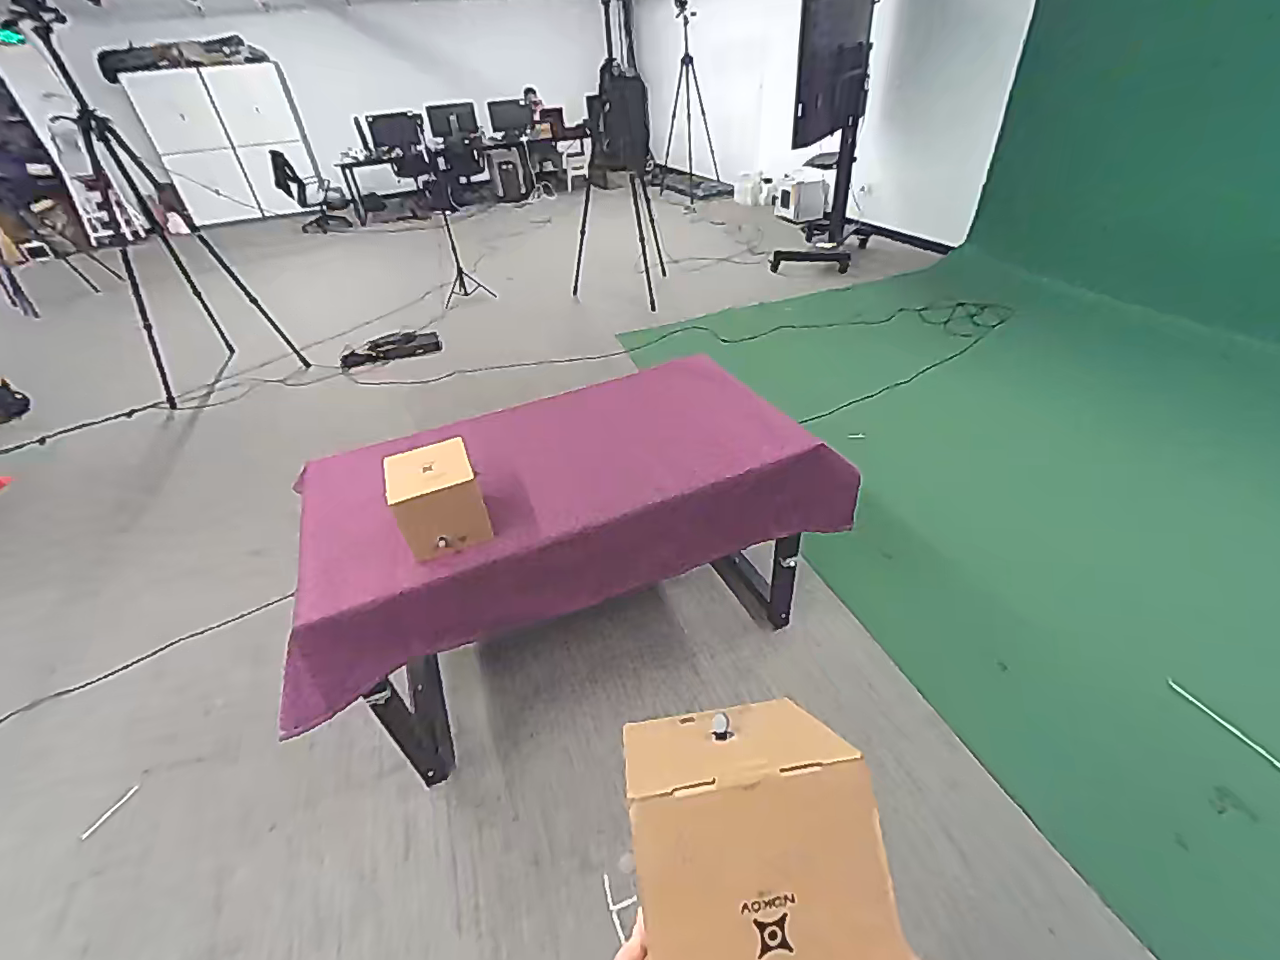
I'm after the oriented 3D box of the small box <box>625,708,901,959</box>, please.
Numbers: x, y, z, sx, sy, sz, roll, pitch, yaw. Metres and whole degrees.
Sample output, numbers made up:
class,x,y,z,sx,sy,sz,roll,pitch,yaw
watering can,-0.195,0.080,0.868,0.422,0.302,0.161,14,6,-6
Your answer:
class,x,y,z,sx,sy,sz,roll,pitch,yaw
small box,0.079,0.295,0.432,0.168,0.176,0.179,-8,81,-3

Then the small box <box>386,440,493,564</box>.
class,x,y,z,sx,sy,sz,roll,pitch,yaw
small box,-0.426,0.045,1.149,0.168,0.176,0.179,-18,40,-15
